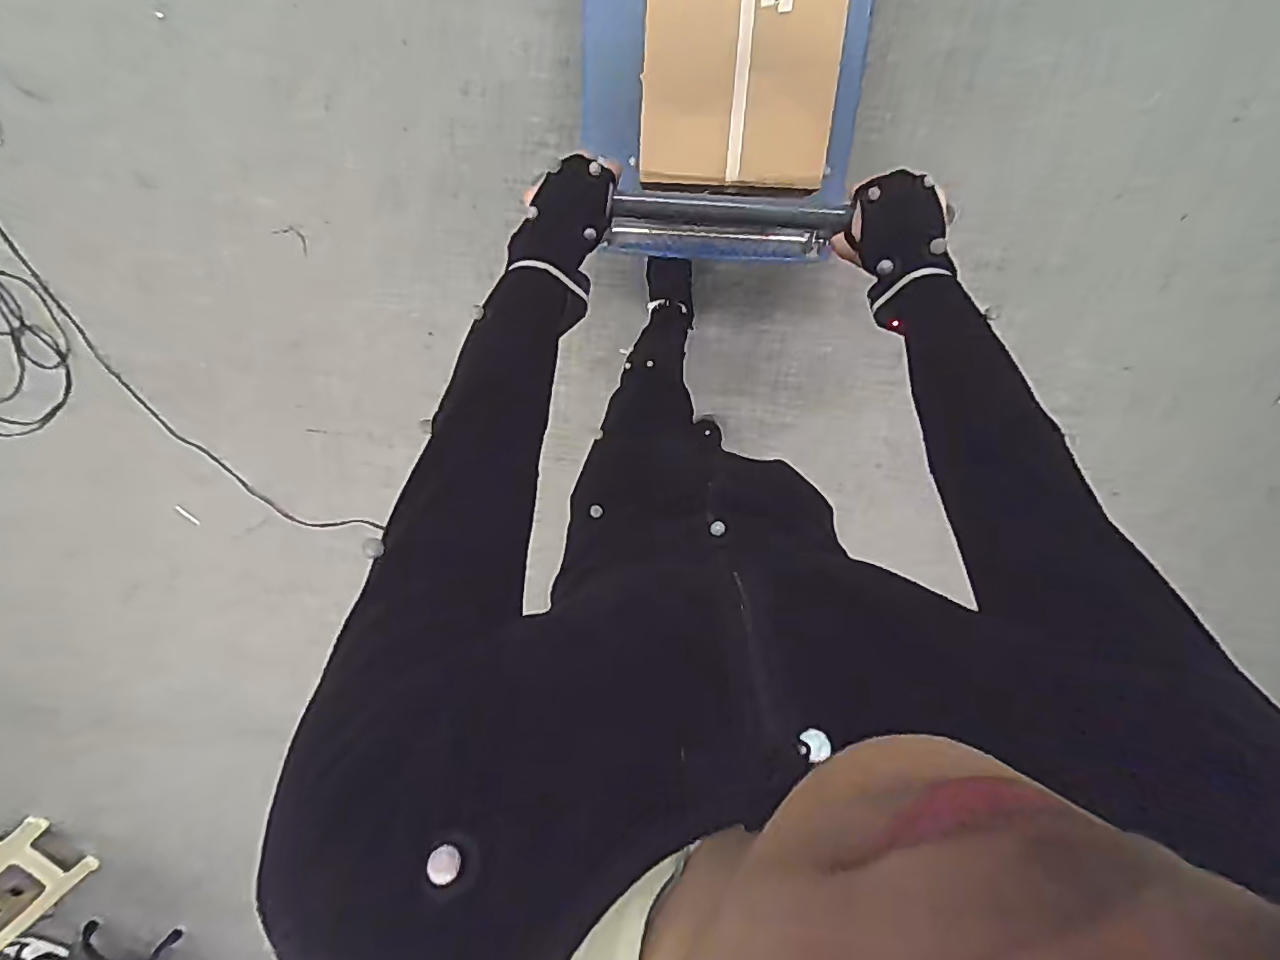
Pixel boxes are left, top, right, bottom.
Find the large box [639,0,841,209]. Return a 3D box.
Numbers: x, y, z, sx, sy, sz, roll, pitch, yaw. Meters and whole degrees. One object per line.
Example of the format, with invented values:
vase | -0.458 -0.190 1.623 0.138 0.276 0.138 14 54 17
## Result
large box | 0.169 -0.747 1.007 0.320 0.320 0.408 4 110 2
